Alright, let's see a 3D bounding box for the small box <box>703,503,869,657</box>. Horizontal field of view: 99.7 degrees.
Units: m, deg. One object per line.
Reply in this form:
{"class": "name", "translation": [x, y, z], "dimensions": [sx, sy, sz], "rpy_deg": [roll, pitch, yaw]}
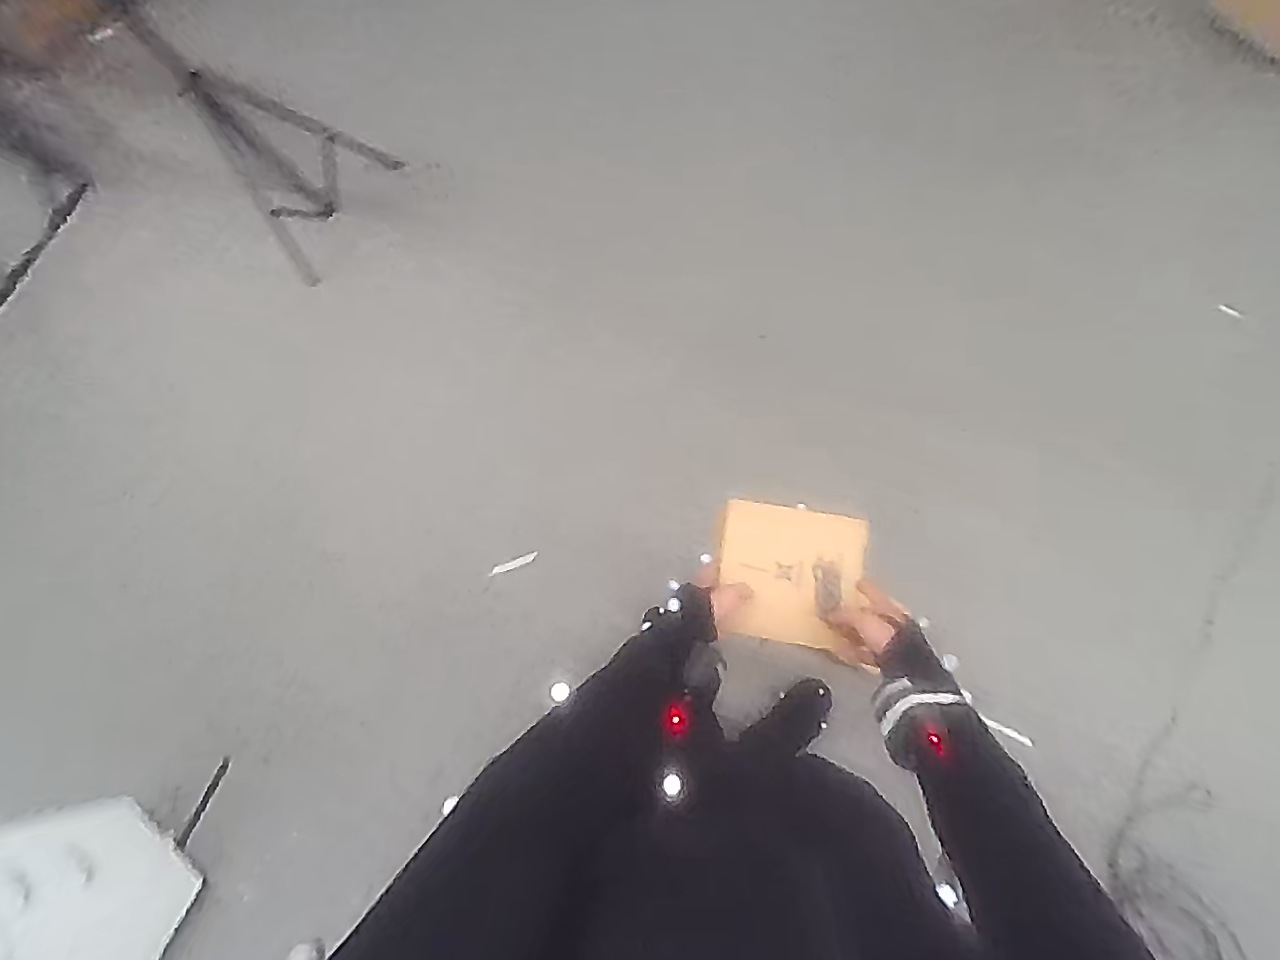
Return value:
{"class": "small box", "translation": [0.189, 0.134, 0.740], "dimensions": [0.179, 0.176, 0.168], "rpy_deg": [9, 80, 4]}
